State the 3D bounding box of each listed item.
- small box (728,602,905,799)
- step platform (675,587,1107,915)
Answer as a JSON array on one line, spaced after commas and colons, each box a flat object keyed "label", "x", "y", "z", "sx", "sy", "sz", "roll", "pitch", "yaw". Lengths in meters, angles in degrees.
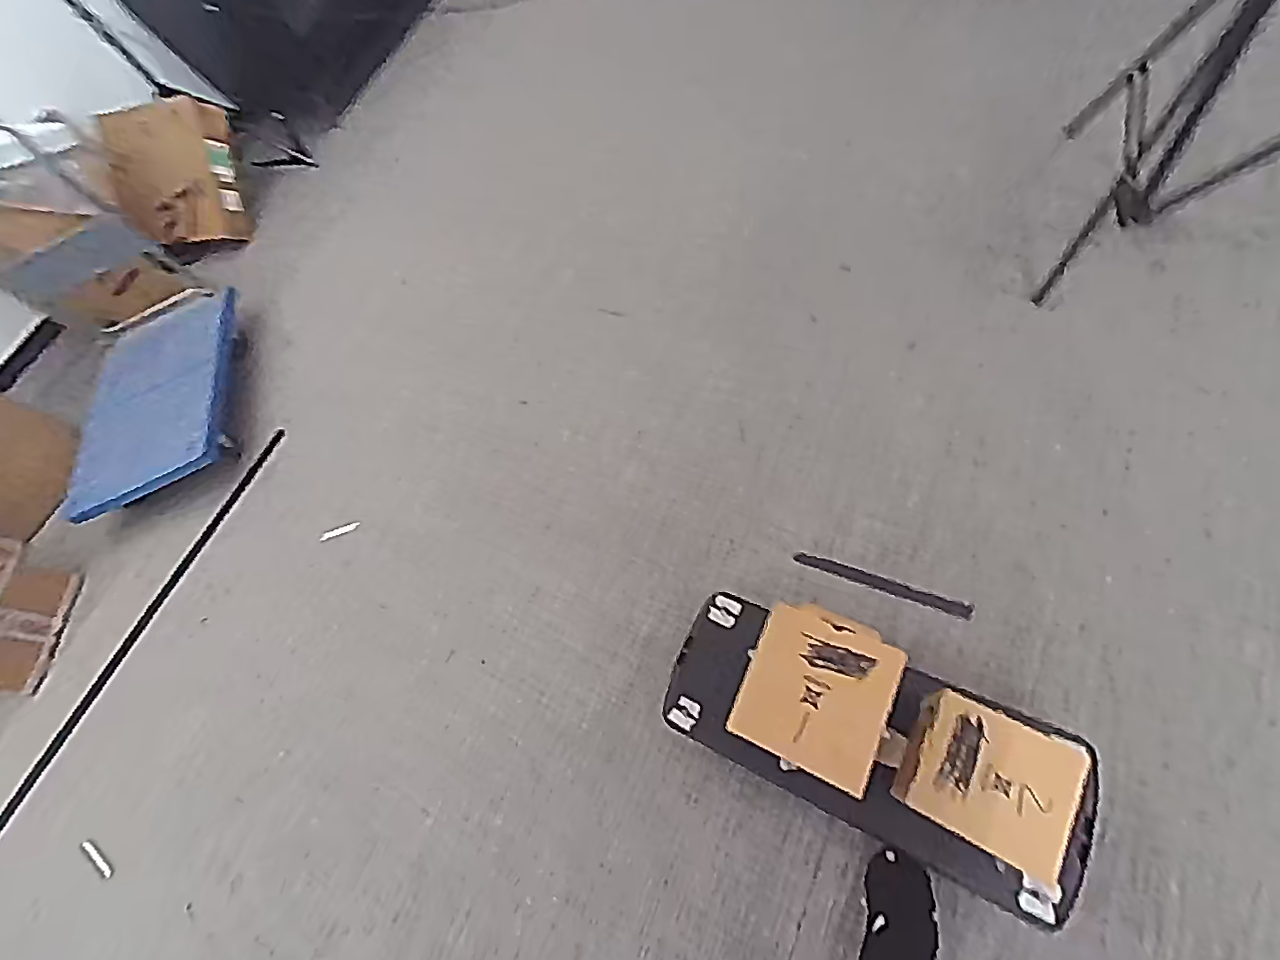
[{"label": "small box", "x": 0.237, "y": 0.294, "z": 0.733, "sx": 0.168, "sy": 0.176, "sz": 0.179, "roll": 20, "pitch": 73, "yaw": 26}, {"label": "step platform", "x": 0.410, "y": 0.449, "z": 0.993, "sx": 0.684, "sy": 0.204, "sz": 0.286, "roll": 18, "pitch": 71, "yaw": 25}]
